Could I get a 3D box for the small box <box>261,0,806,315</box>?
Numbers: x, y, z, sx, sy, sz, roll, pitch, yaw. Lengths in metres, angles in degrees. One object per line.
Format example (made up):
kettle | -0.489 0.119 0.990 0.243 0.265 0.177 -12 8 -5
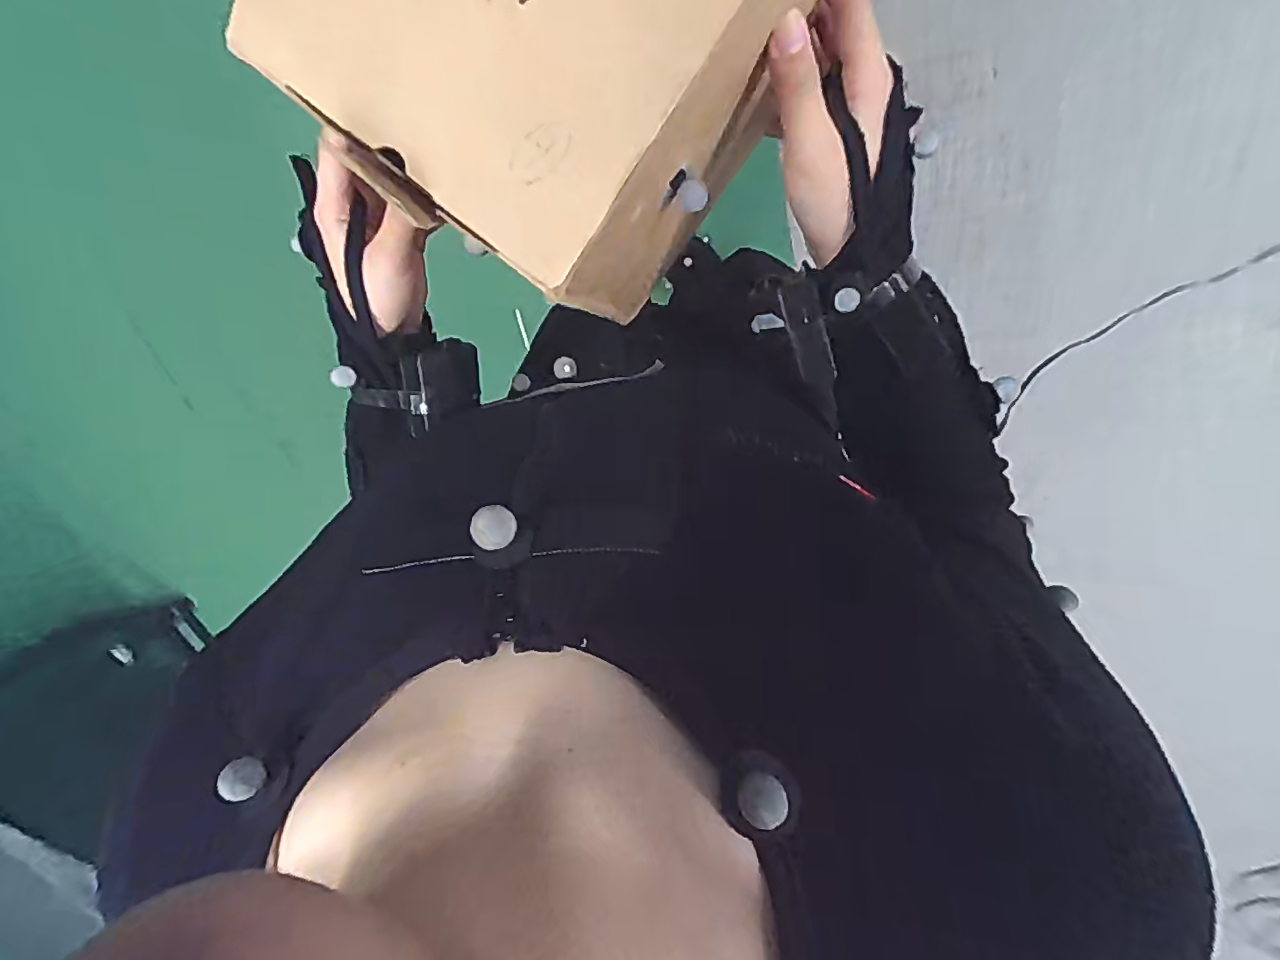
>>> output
small box | -0.030 -0.202 0.275 0.168 0.176 0.179 38 106 -1
